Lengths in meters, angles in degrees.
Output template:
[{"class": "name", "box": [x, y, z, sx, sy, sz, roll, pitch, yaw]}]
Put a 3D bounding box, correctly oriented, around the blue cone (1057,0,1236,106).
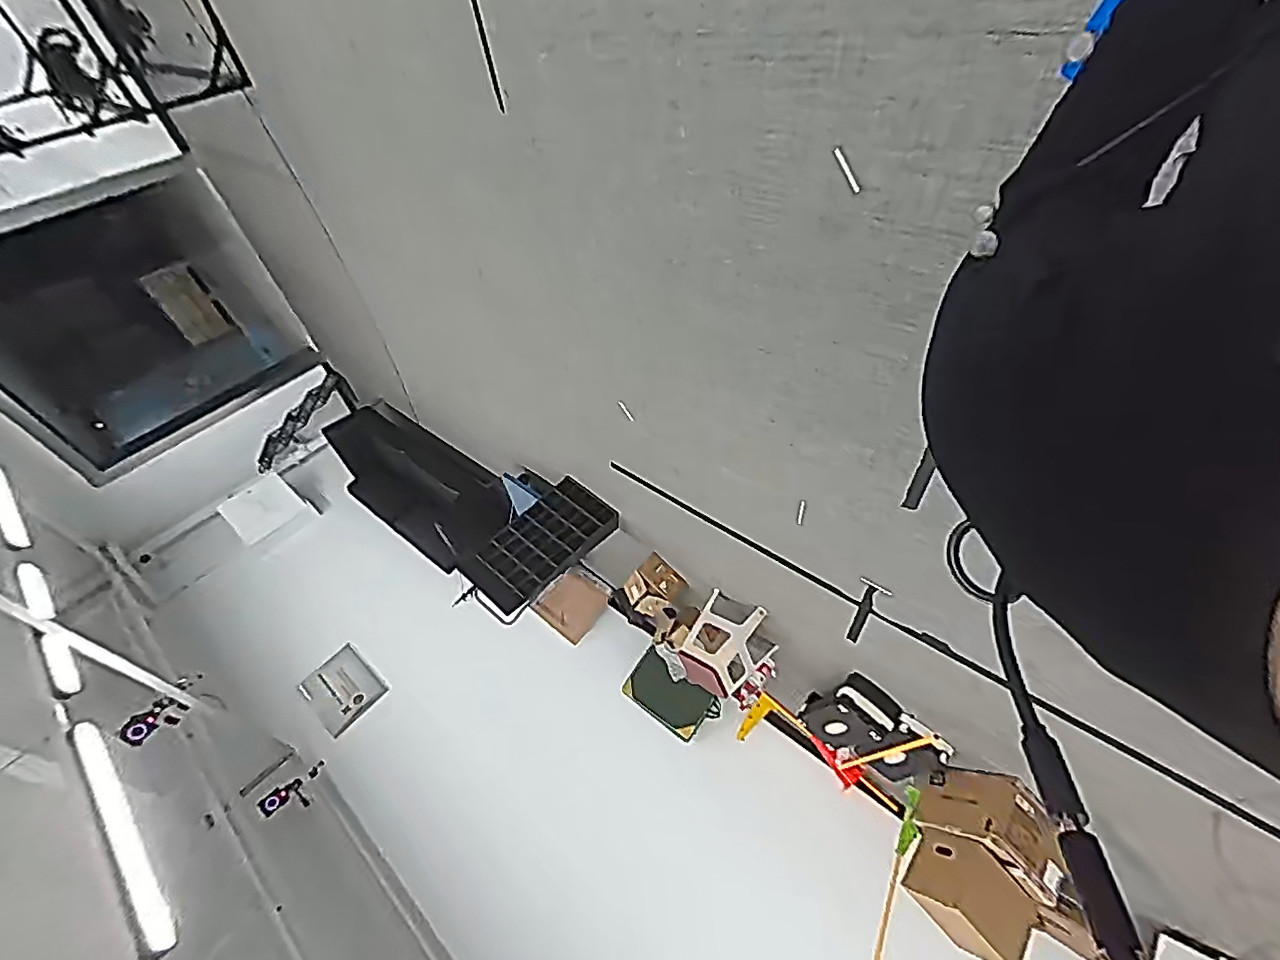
[{"class": "blue cone", "box": [0.743, -0.668, 0.842, 0.192, 0.380, 0.193, 39, 151, 16]}]
